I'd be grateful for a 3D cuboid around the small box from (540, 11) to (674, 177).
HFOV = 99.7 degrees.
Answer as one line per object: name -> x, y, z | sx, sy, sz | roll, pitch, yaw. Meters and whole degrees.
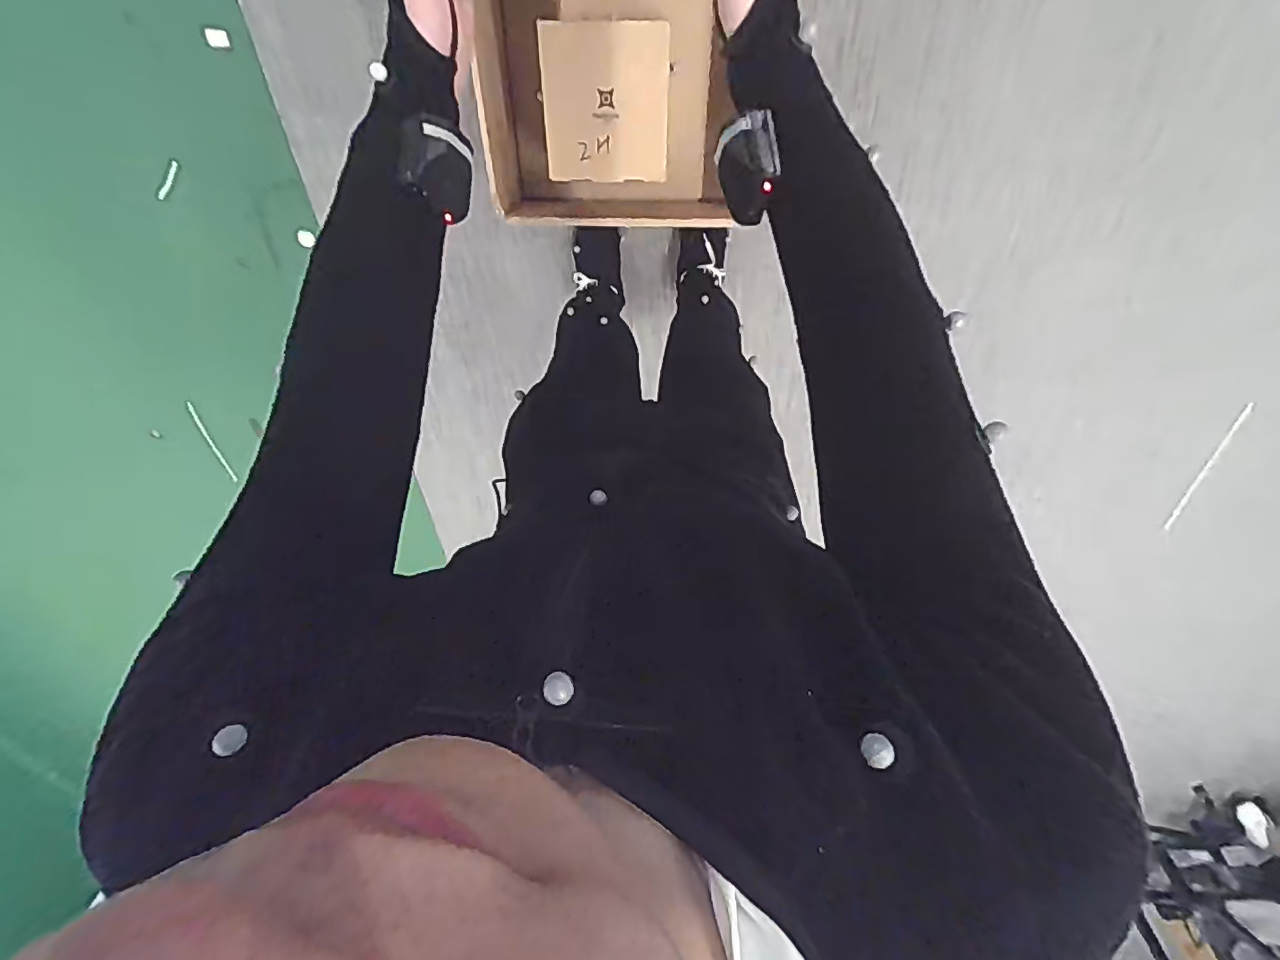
small box -> -0.039, -0.539, 0.765 | 0.168, 0.176, 0.179 | 2, 126, 3
